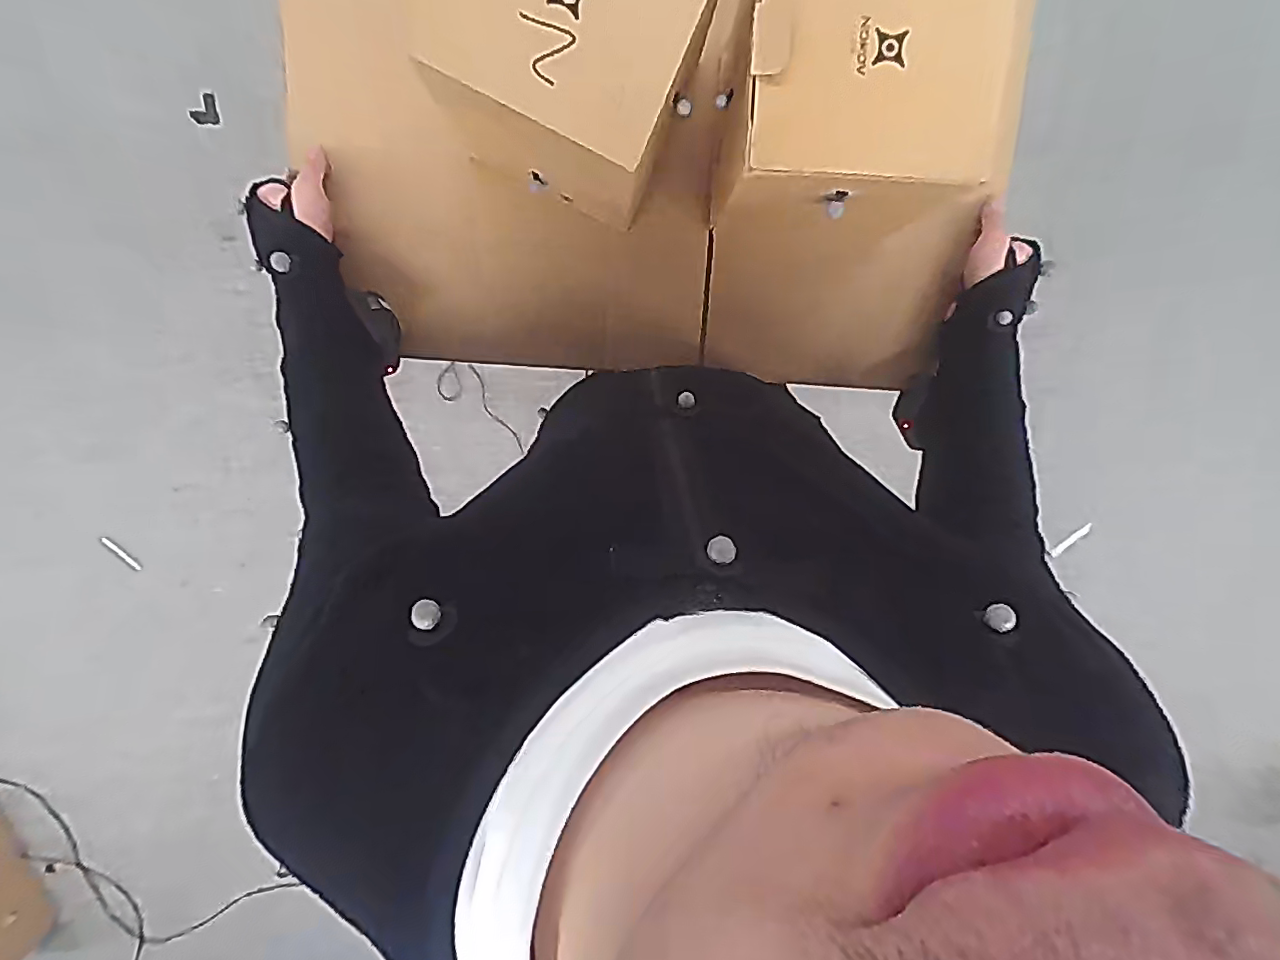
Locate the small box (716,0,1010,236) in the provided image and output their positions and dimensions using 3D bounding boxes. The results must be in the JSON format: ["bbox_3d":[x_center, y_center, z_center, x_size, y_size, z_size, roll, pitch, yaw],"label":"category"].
[{"bbox_3d":[0.169,-0.317,0.460,0.179,0.176,0.168,2,100,-1],"label":"small box"}]
